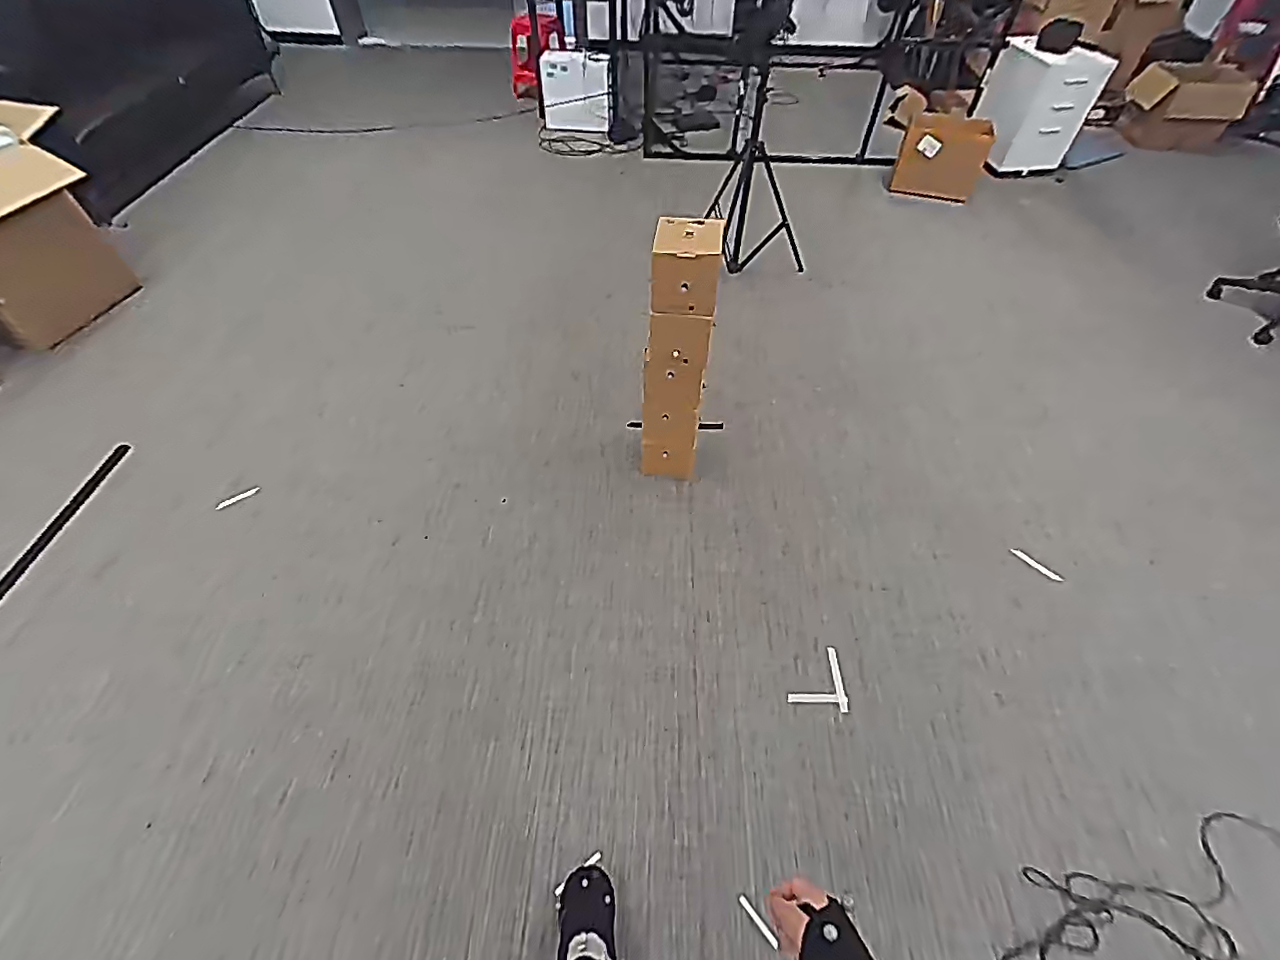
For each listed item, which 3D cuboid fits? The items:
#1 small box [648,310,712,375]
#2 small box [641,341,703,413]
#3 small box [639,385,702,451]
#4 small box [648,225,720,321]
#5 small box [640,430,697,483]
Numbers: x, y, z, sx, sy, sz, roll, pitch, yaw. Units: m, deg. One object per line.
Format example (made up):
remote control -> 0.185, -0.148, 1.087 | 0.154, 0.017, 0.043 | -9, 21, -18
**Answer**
small box -> 0.113, -0.421, 1.515 | 0.168, 0.176, 0.179 | 7, 53, 7
small box -> 0.101, -0.322, 1.646 | 0.179, 0.176, 0.168 | 8, 53, 6
small box -> 0.100, -0.215, 1.768 | 0.179, 0.176, 0.168 | 10, 53, 8
small box -> 0.114, -0.530, 1.392 | 0.168, 0.176, 0.179 | 5, 53, 5
small box -> 0.100, -0.105, 1.891 | 0.179, 0.176, 0.168 | 7, 52, 6
